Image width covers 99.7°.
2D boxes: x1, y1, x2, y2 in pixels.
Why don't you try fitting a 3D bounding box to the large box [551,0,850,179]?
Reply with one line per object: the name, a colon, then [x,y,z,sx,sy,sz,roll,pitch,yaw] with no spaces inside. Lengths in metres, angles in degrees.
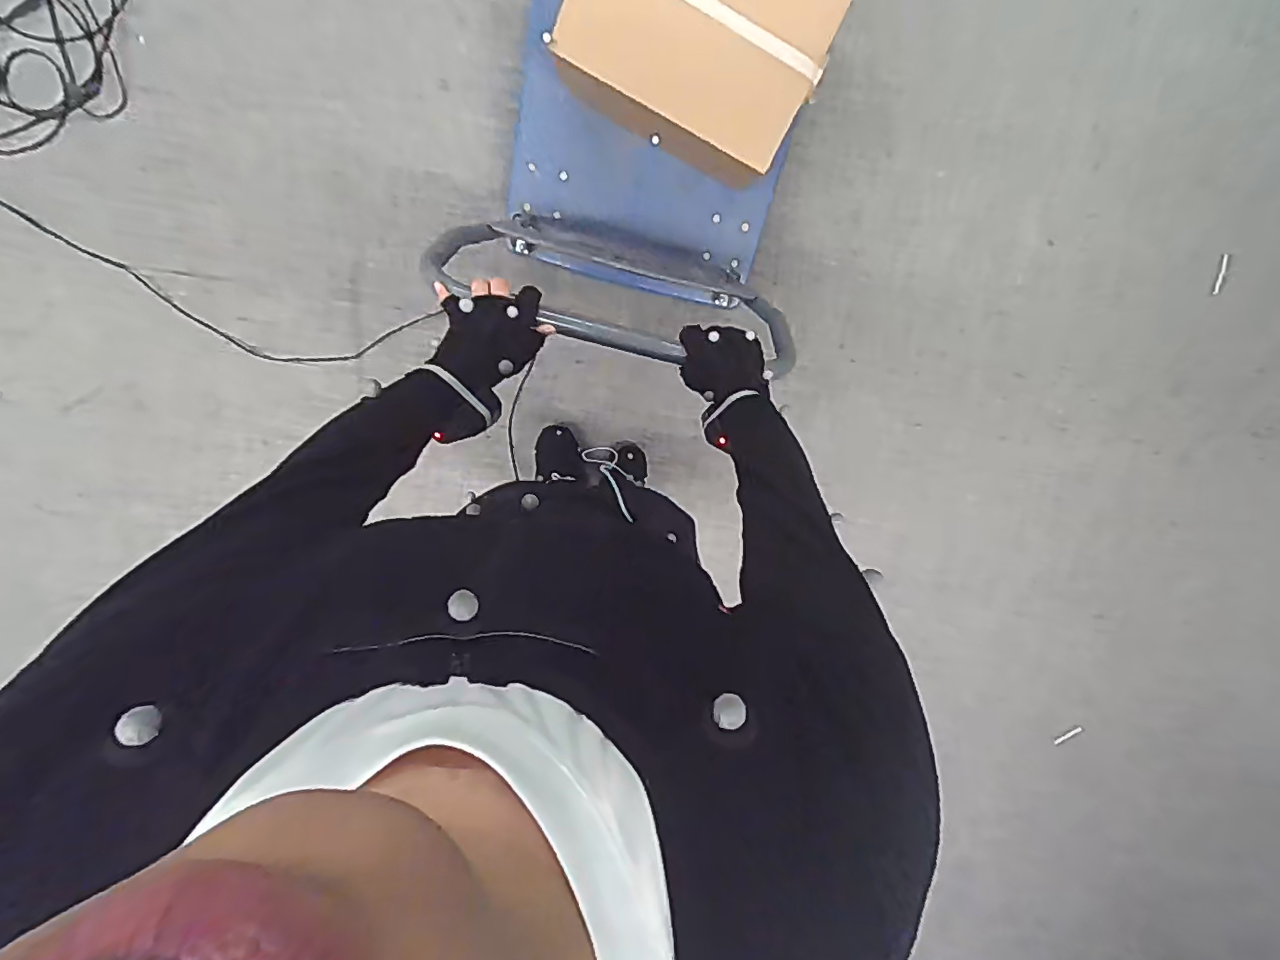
large box: [0.105,-0.797,0.969,0.408,0.320,0.320,25,112,-10]
